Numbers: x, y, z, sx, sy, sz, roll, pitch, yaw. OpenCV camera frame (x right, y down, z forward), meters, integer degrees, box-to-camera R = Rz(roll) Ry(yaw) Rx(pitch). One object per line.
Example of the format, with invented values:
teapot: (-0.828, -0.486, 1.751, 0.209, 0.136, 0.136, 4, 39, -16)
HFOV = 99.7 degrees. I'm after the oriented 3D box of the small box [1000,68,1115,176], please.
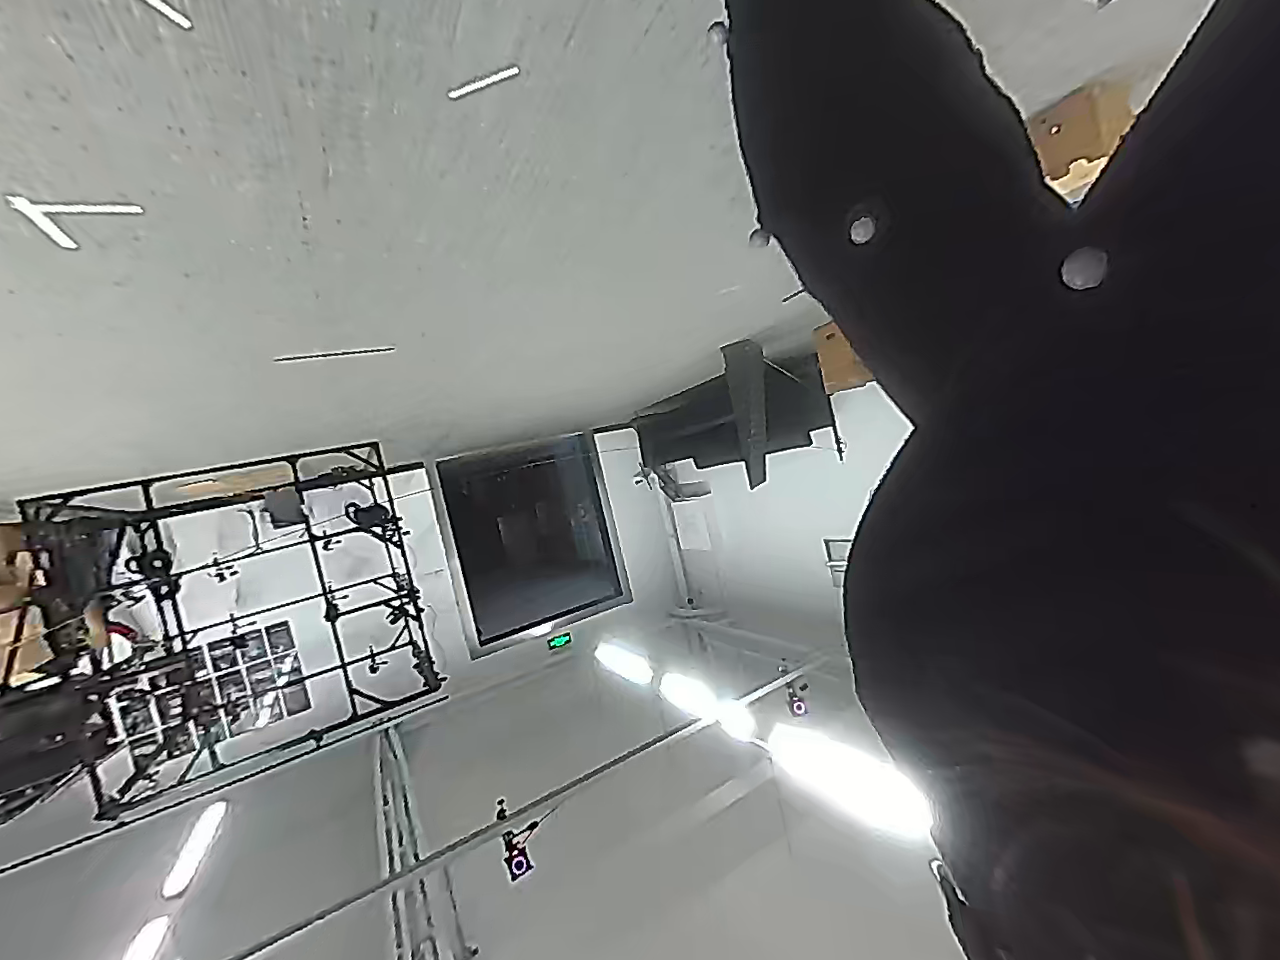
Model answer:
small box: (1.055, -0.902, 1.370, 0.179, 0.176, 0.168, -15, -177, -26)
